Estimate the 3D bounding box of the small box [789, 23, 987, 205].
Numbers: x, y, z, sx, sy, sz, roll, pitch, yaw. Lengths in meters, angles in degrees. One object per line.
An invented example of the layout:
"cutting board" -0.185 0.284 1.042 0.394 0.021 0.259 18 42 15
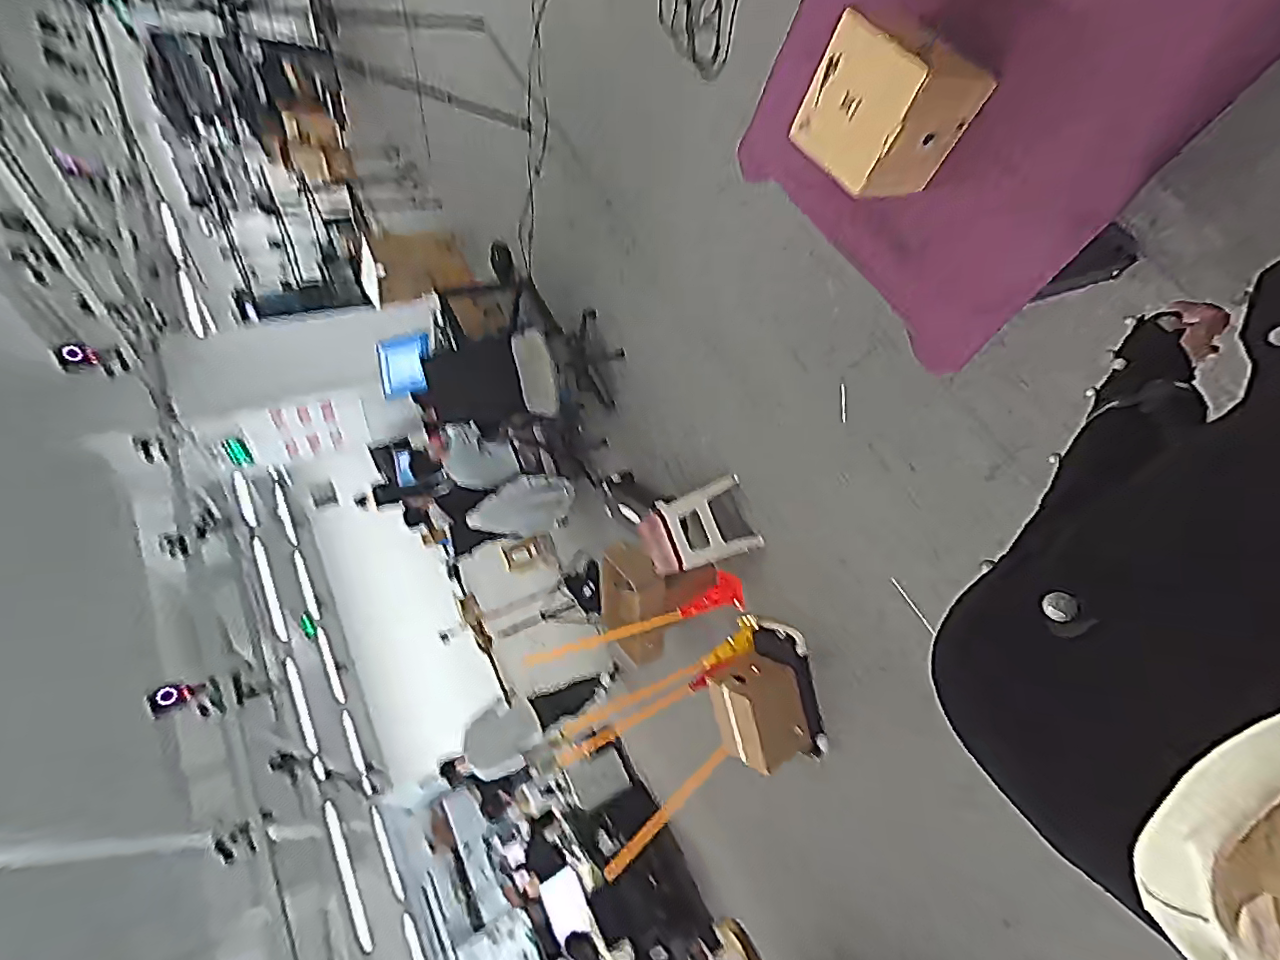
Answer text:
"small box" 0.372 -0.550 0.819 0.179 0.176 0.168 58 149 22
